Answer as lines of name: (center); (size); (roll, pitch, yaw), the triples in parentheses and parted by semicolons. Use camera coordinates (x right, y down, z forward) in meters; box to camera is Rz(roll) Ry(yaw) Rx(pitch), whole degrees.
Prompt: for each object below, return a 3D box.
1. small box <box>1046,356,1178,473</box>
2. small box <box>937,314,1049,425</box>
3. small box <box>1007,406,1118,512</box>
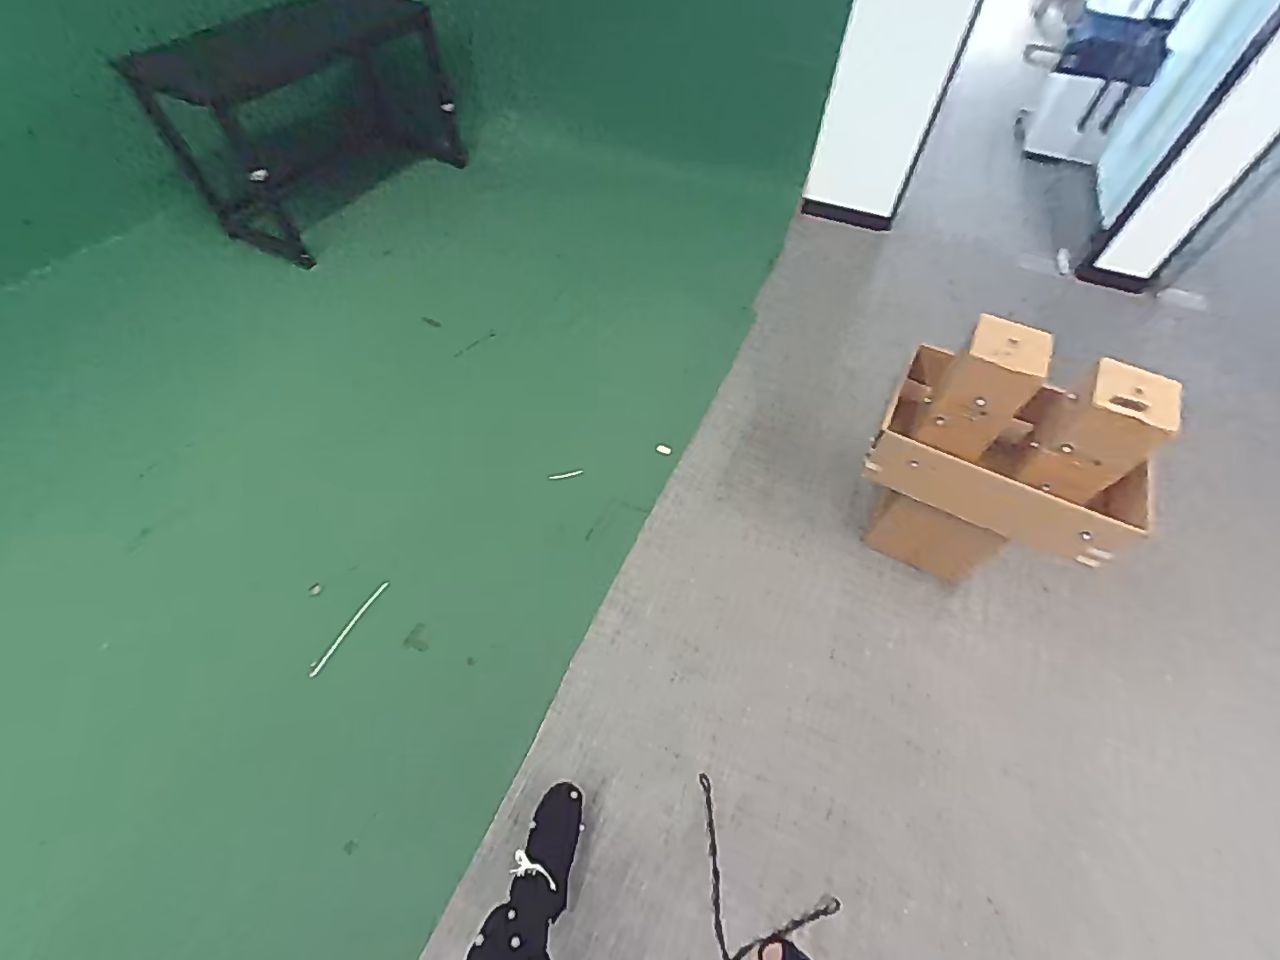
small box: (1.084, -0.147, 1.251); (0.168, 0.176, 0.179); (27, 59, 16)
small box: (0.862, -0.270, 1.331); (0.168, 0.176, 0.179); (25, 58, 16)
small box: (1.081, -0.053, 1.386); (0.168, 0.176, 0.179); (26, 59, 16)
